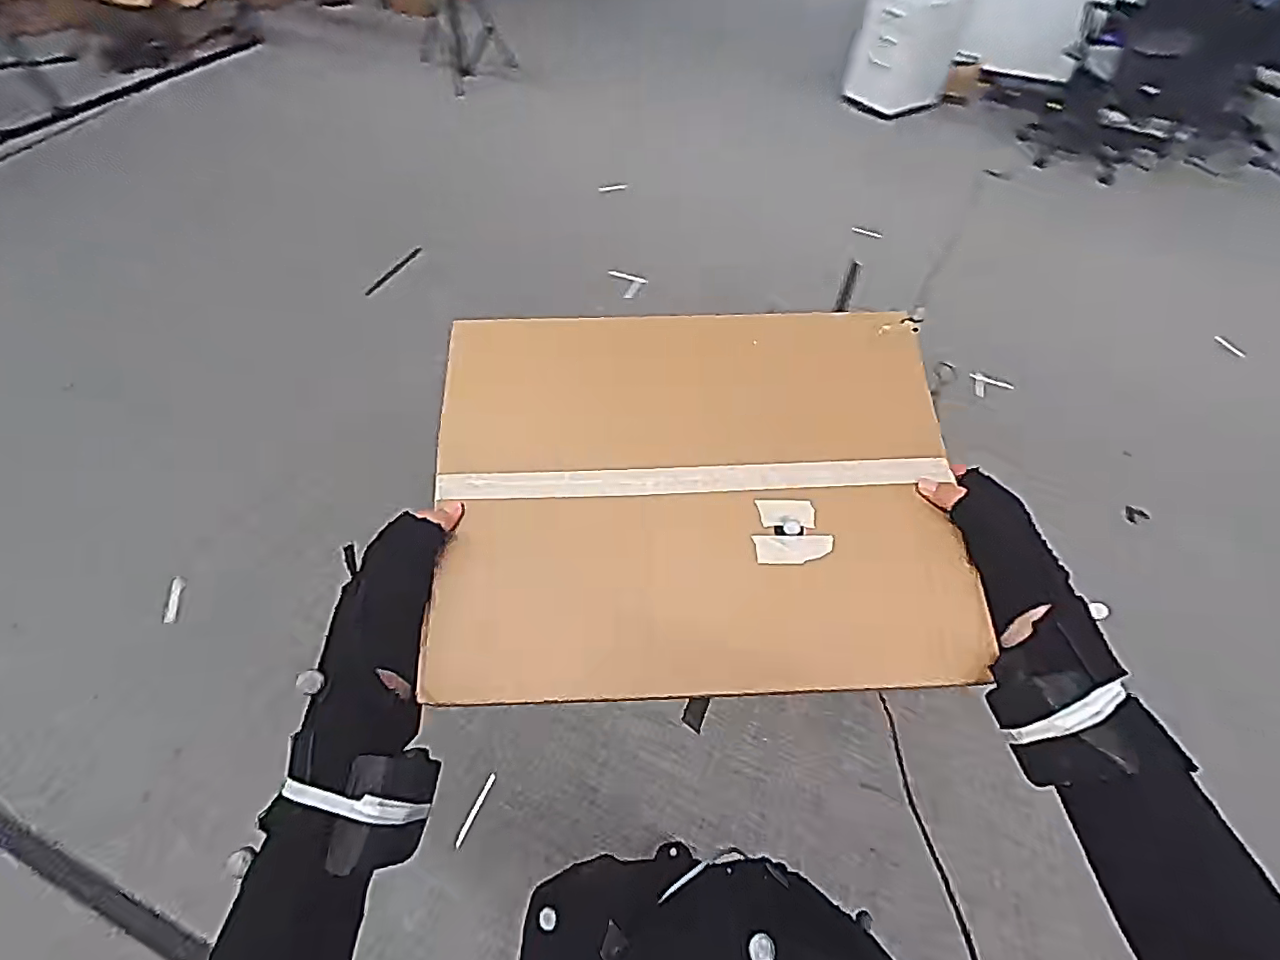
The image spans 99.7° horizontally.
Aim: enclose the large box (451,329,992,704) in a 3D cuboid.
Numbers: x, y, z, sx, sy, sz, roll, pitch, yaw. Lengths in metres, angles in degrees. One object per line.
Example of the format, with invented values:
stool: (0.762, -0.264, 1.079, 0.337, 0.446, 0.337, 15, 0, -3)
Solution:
large box: (0.054, 0.061, 0.580, 0.408, 0.320, 0.320, -1, 70, -1)
